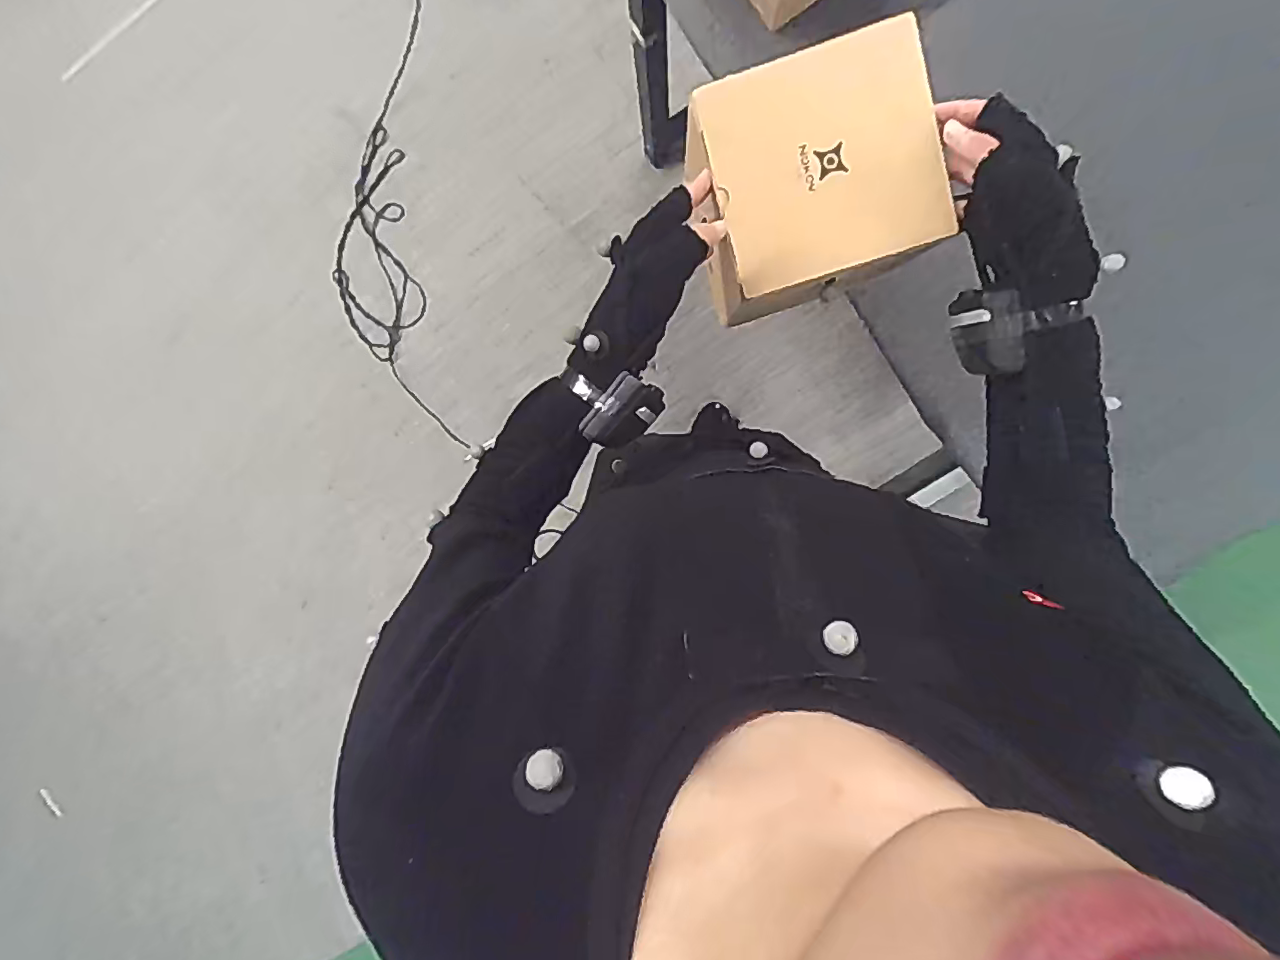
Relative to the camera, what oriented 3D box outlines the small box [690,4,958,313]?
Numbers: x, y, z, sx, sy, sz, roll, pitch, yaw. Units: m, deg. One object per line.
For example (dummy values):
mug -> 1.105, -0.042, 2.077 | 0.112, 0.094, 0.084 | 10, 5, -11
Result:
small box -> 0.150, -0.267, 0.498 | 0.179, 0.176, 0.168 | -16, 98, 7
